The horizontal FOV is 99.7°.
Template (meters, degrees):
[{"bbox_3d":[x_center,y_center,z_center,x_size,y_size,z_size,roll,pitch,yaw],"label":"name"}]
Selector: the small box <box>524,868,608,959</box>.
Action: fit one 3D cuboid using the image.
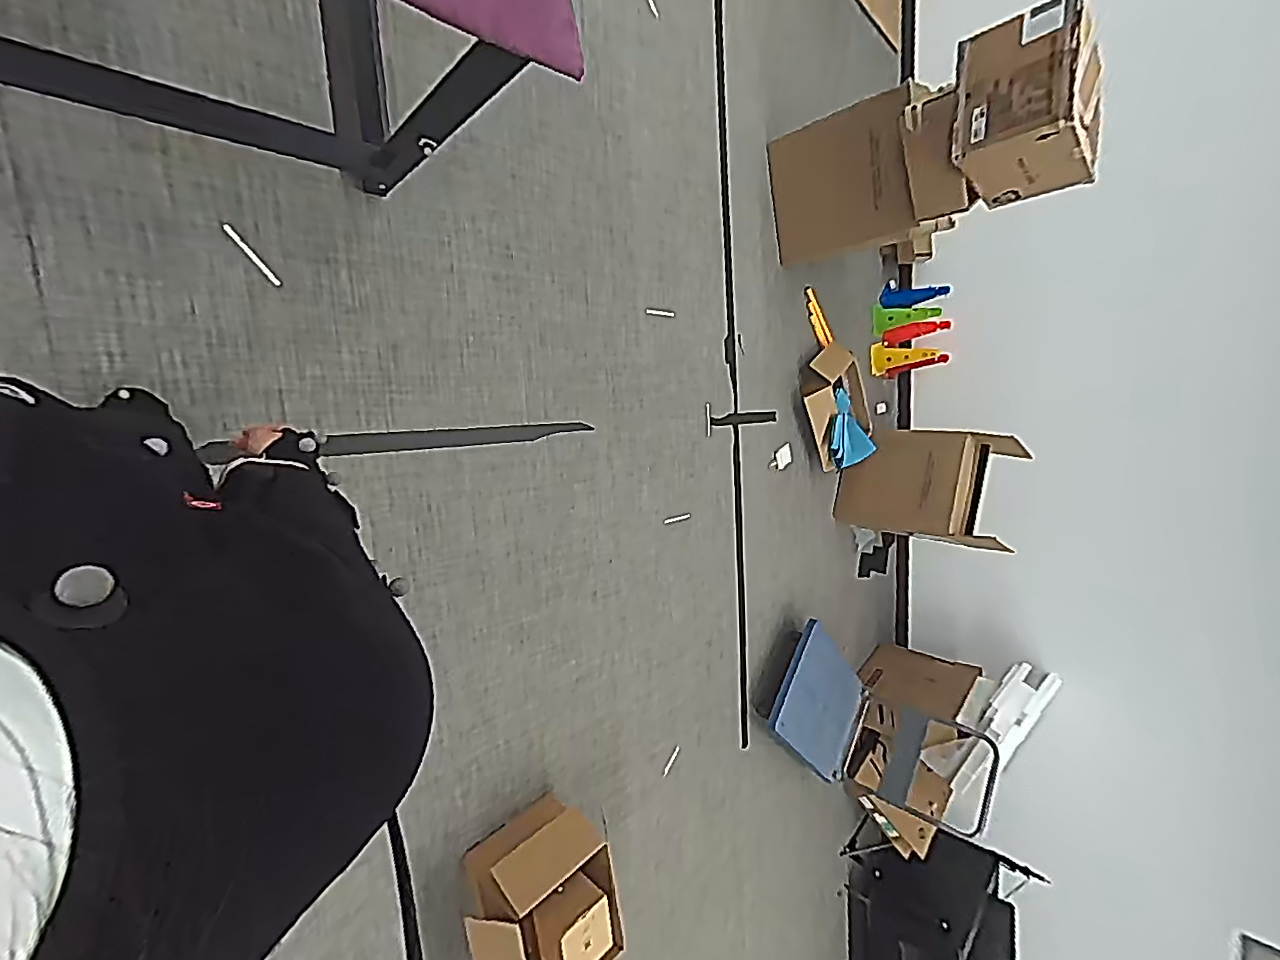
[{"bbox_3d":[-0.213,1.273,1.546,0.168,0.176,0.179,-15,103,-44],"label":"small box"}]
